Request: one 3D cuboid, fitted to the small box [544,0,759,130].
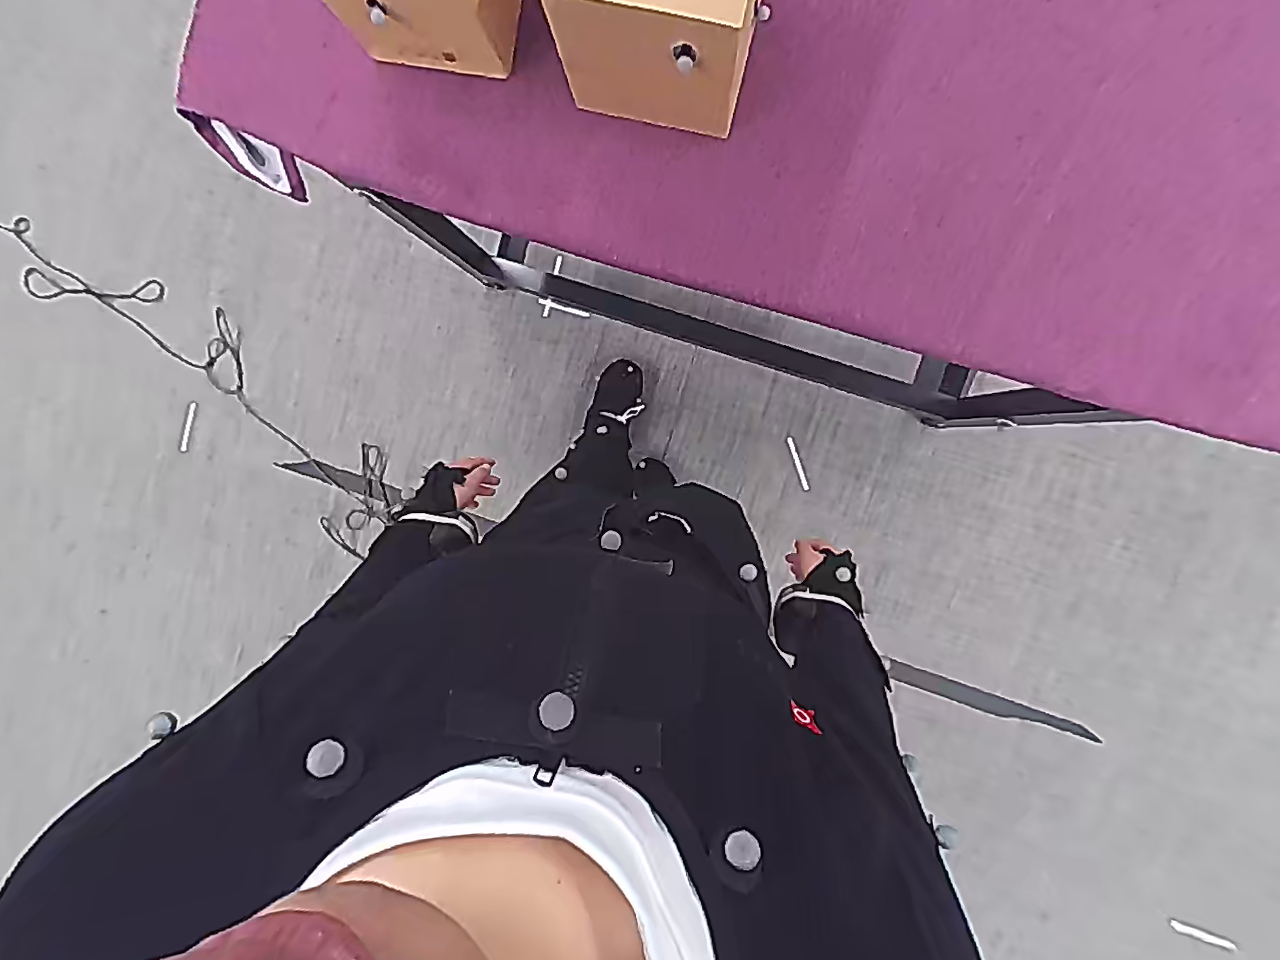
[{"bbox_3d":[0.024,-0.471,0.514,0.179,0.176,0.168,14,95,3],"label":"small box"}]

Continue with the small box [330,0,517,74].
[{"bbox_3d":[-0.220,-0.547,0.532,0.168,0.176,0.179,11,95,4],"label":"small box"}]
